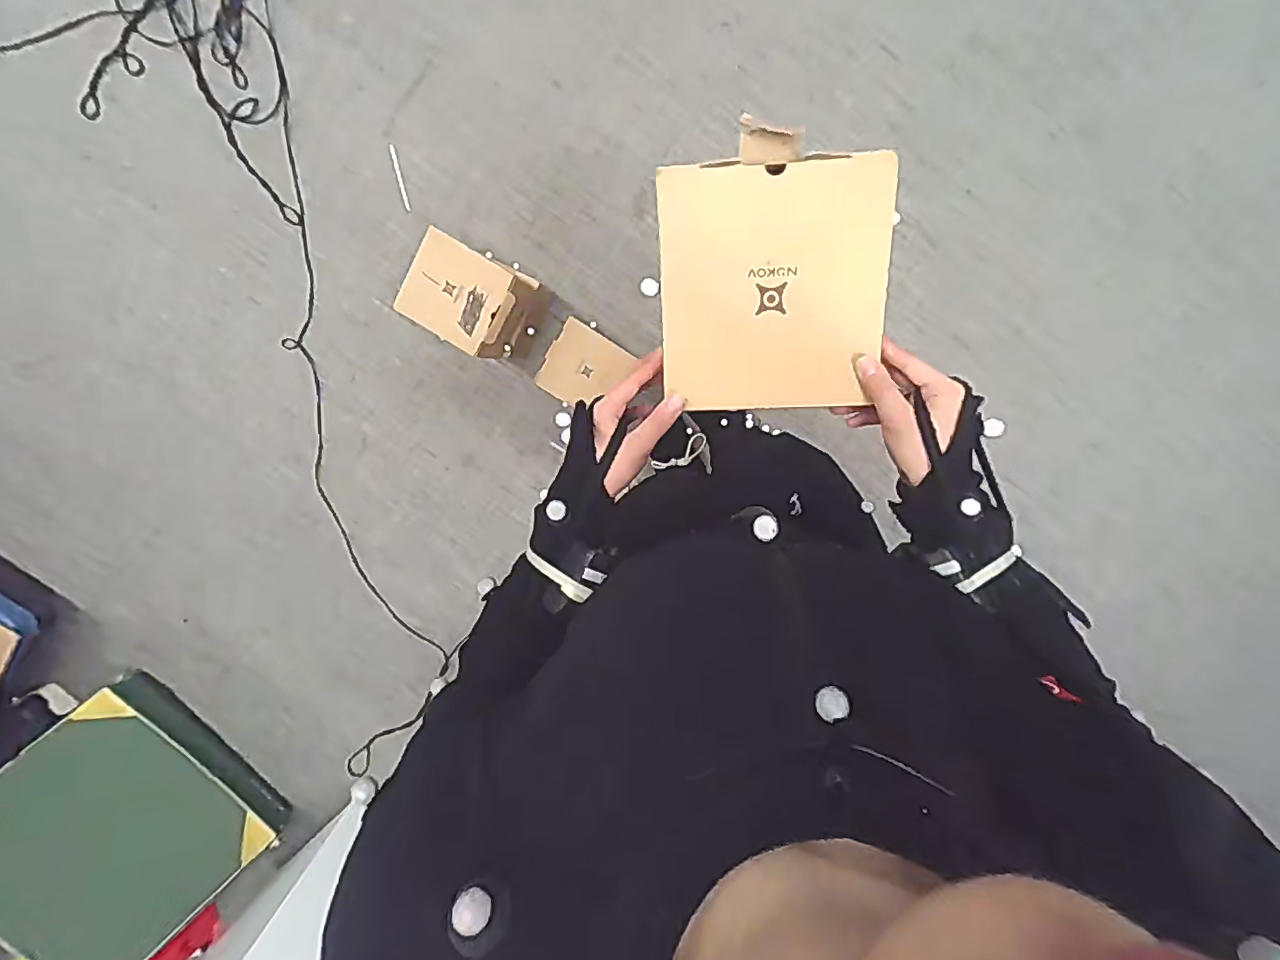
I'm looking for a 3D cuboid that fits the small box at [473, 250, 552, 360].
[{"bbox_3d":[-0.313,-0.381,1.207,0.168,0.176,0.179,26,101,-3],"label":"small box"}]

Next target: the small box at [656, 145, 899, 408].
[{"bbox_3d":[0.103,-0.166,0.469,0.168,0.176,0.179,-1,108,6],"label":"small box"}]

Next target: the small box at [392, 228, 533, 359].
[{"bbox_3d":[-0.330,-0.350,1.046,0.179,0.176,0.168,31,100,-3],"label":"small box"}]
